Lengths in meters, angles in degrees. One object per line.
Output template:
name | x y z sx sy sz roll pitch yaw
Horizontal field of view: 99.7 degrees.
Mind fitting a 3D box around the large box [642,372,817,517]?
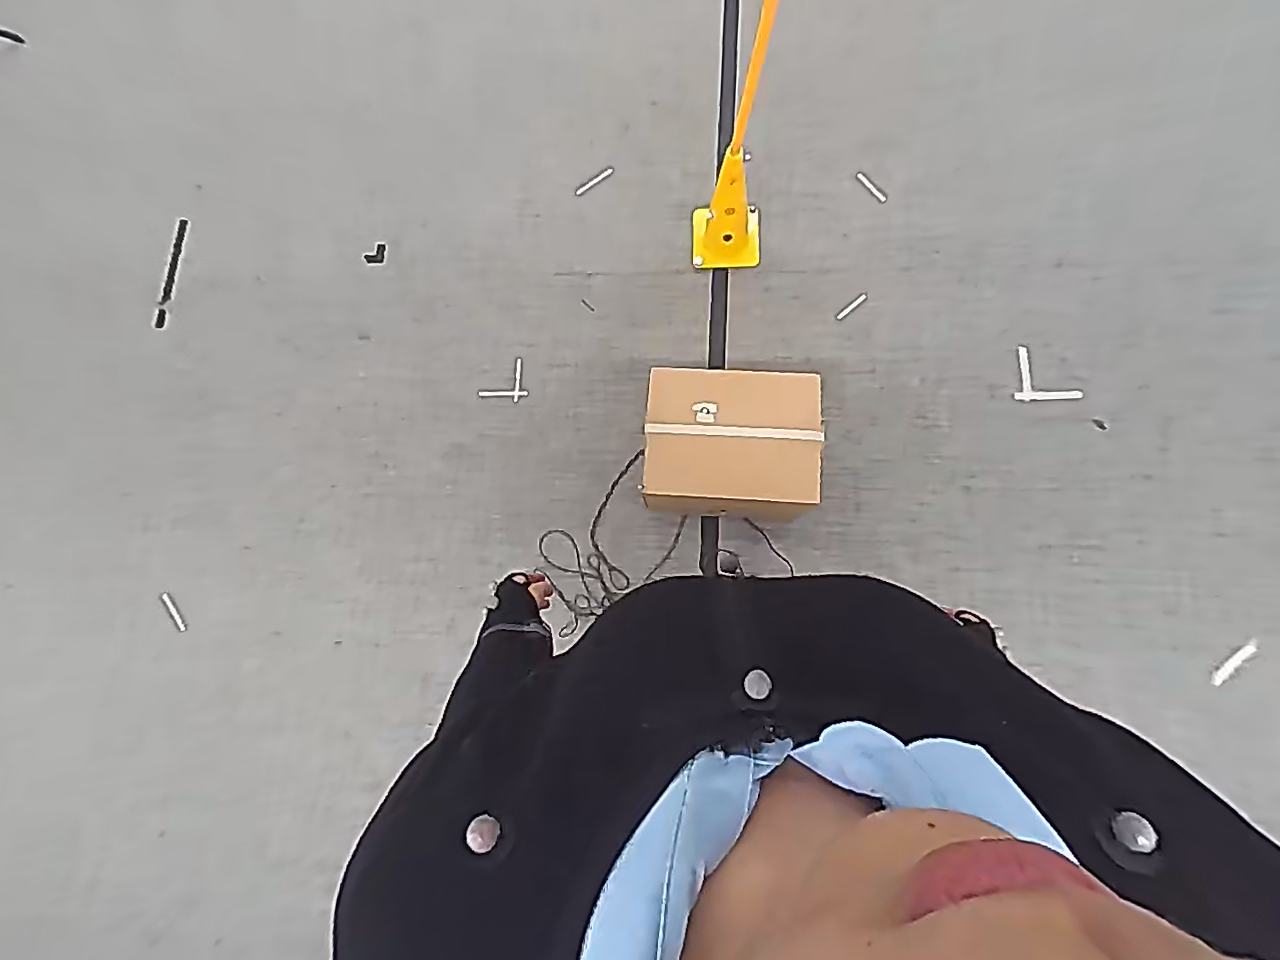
large box | 0.223 -0.078 1.414 0.408 0.320 0.320 3 77 5
